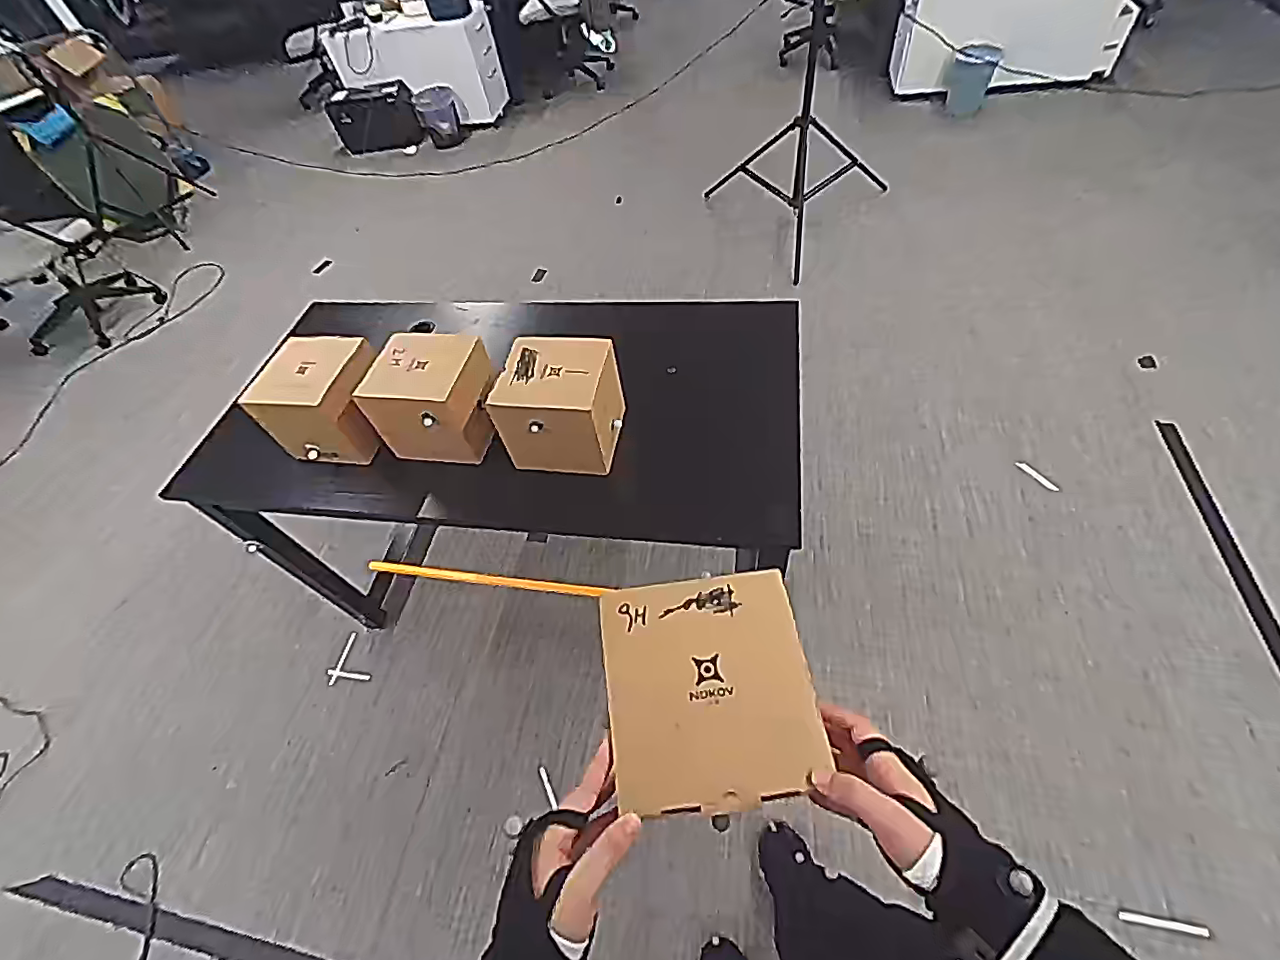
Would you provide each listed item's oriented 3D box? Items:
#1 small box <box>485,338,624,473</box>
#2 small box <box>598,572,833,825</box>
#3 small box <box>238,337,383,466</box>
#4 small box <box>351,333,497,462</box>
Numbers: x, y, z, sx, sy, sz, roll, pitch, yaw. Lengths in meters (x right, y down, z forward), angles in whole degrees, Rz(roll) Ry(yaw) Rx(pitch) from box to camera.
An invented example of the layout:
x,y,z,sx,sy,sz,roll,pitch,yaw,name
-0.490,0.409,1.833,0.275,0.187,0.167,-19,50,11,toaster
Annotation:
x,y,z,sx,sy,sz,roll,pitch,yaw,name
-0.136,-0.126,0.937,0.179,0.176,0.168,4,55,11,small box
0.056,0.204,0.502,0.168,0.176,0.179,-7,59,-2,small box
-0.589,-0.148,1.023,0.168,0.176,0.179,2,55,12,small box
-0.371,-0.147,0.987,0.179,0.176,0.168,4,54,12,small box
